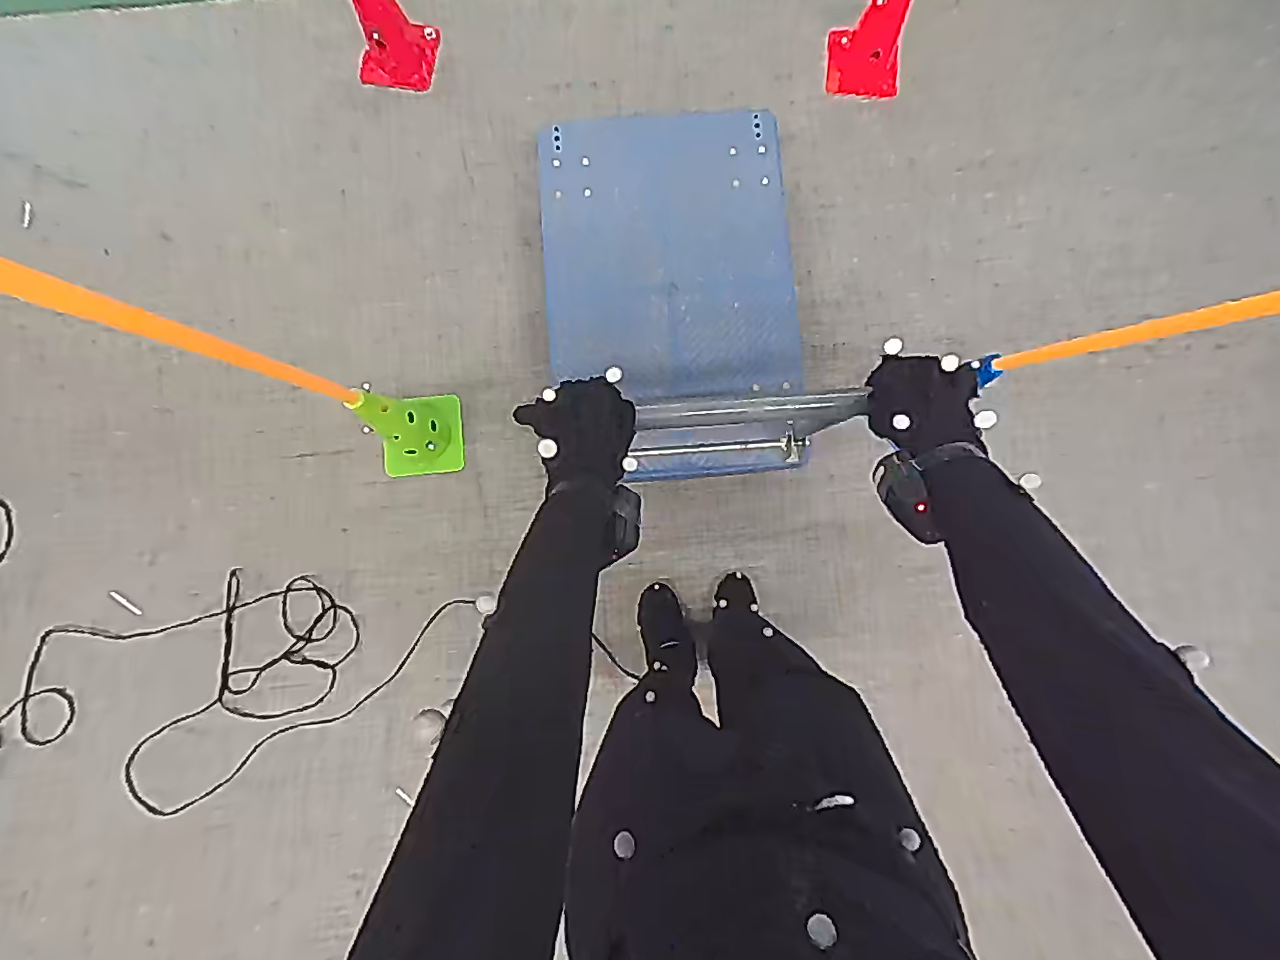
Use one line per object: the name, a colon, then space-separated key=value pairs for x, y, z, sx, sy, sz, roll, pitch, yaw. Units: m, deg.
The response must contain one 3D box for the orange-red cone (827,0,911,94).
orange-red cone: x=0.617 y=-1.180 z=1.323 sx=0.198 sy=0.360 sz=0.199 roll=6 pitch=85 yaw=2
